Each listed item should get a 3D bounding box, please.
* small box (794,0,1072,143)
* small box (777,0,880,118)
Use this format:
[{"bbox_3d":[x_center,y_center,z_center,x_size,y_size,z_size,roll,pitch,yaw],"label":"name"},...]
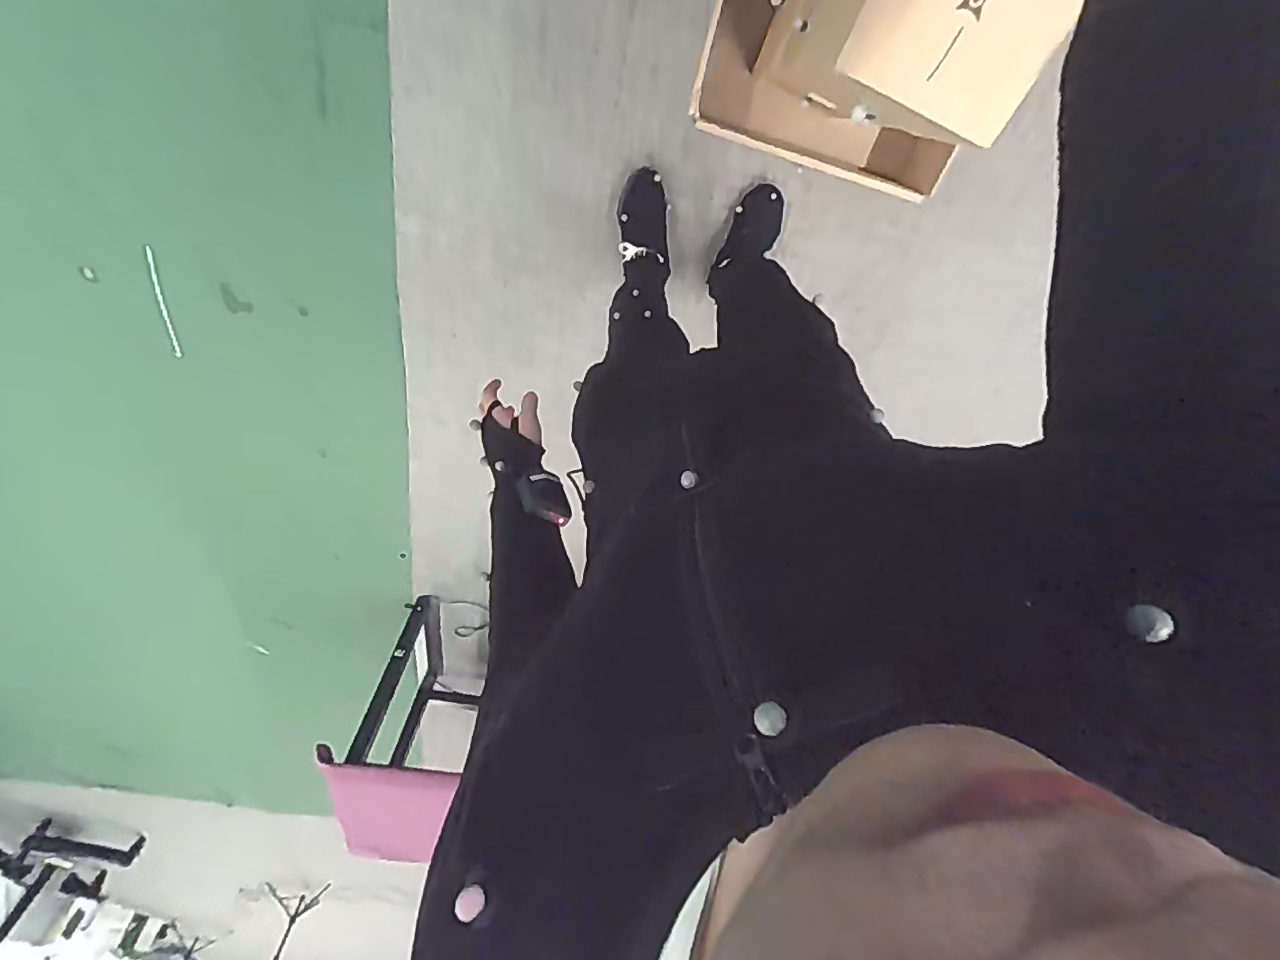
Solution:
[{"bbox_3d":[0.263,-0.442,0.489,0.168,0.176,0.179,18,126,-13],"label":"small box"},{"bbox_3d":[0.274,-0.541,0.620,0.168,0.176,0.179,17,124,-13],"label":"small box"}]
